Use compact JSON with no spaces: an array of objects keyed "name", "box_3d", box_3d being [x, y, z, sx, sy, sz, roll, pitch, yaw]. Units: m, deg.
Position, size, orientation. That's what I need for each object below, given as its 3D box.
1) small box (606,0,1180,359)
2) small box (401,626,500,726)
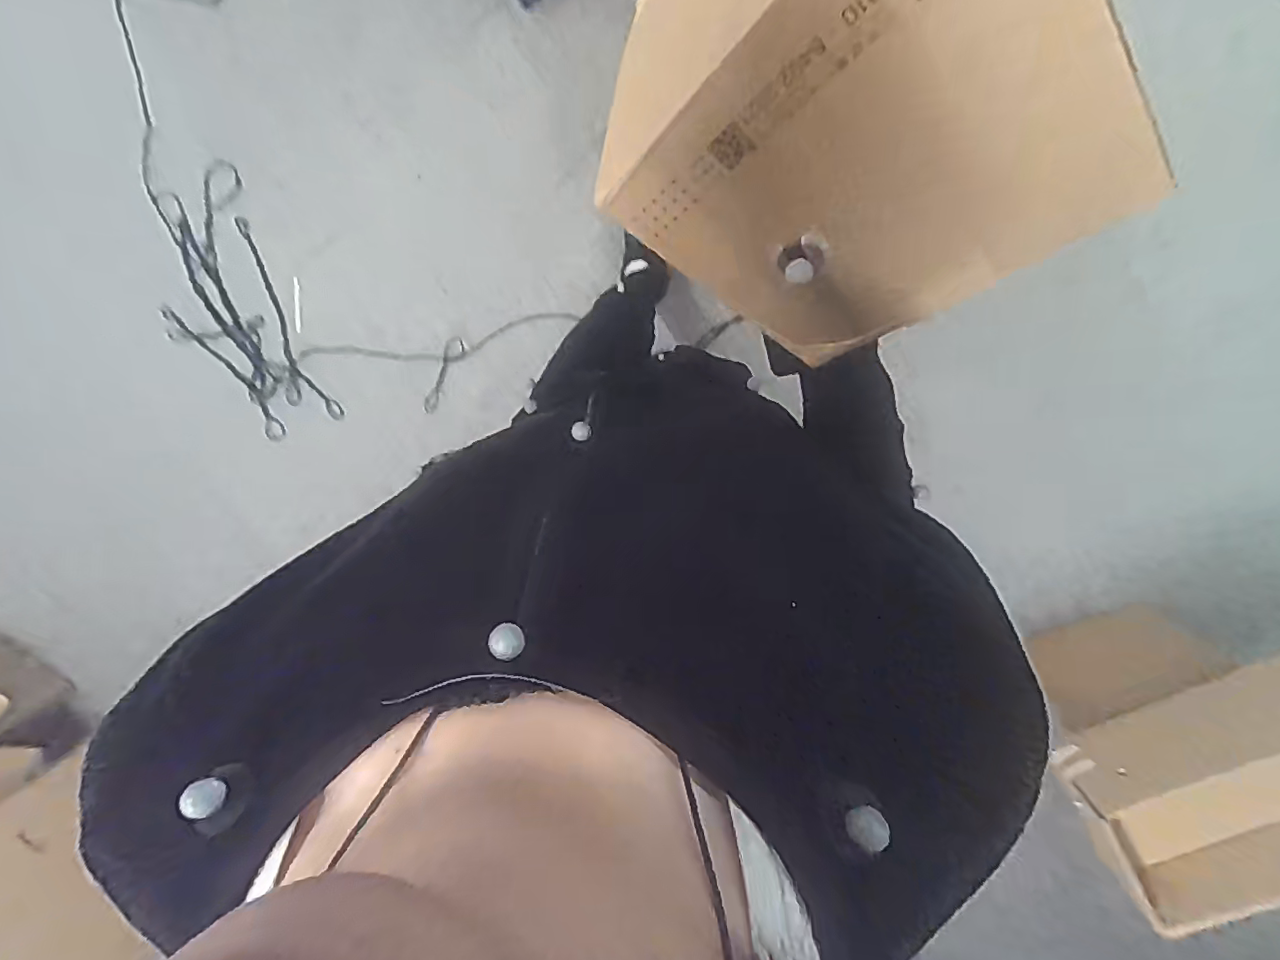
[{"name":"small box","box_3d":[0.099,-0.197,0.254,0.176,0.179,0.168,25,149,-33]},{"name":"small box","box_3d":[-0.503,0.526,1.464,0.168,0.176,0.179,-16,104,9]}]
